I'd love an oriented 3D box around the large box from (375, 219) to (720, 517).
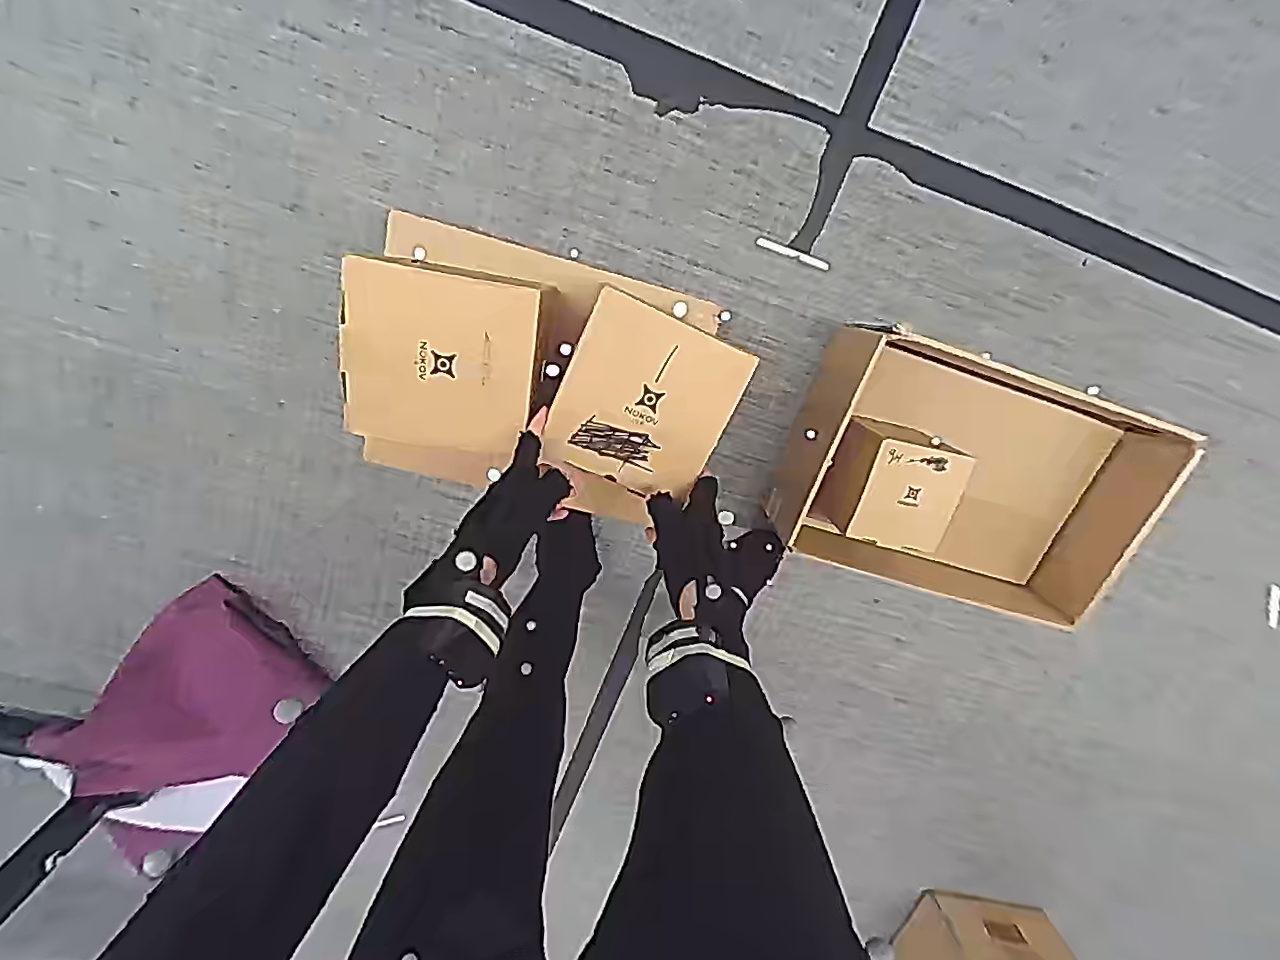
[{"bbox_3d":[-0.138,-0.175,0.836,0.408,0.320,0.320,12,110,-9],"label":"large box"}]
